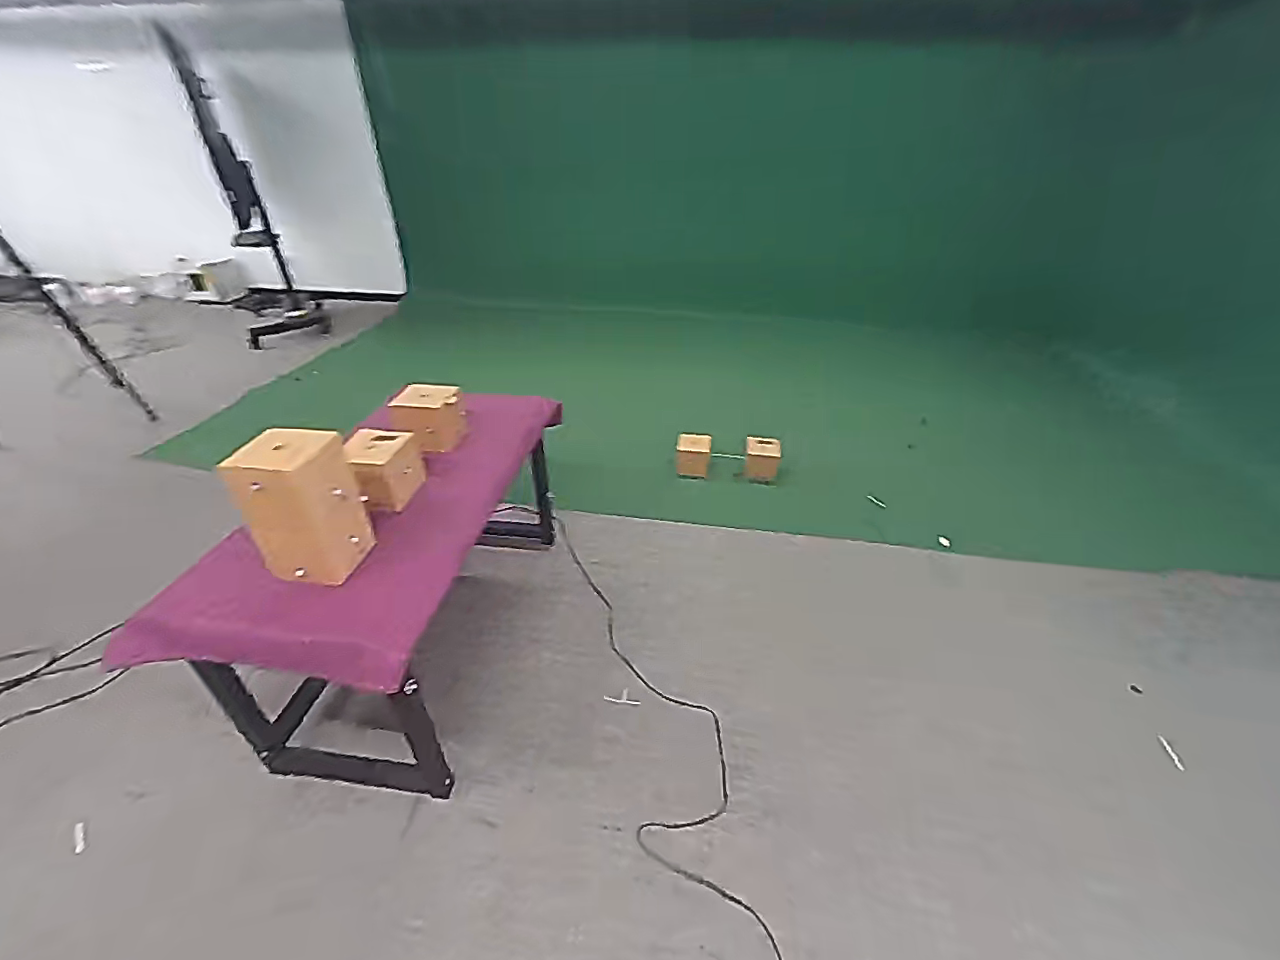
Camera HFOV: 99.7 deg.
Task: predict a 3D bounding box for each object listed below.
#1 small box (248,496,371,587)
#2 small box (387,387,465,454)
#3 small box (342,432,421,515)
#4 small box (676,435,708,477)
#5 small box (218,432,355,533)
[{"bbox_3d":[-0.796,0.143,1.326,0.179,0.176,0.168,4,34,6],"label":"small box"},{"bbox_3d":[-0.712,-0.200,1.826,0.179,0.176,0.168,4,35,7],"label":"small box"},{"bbox_3d":[-0.754,-0.020,1.564,0.168,0.176,0.179,4,36,6],"label":"small box"},{"bbox_3d":[0.288,-0.129,2.992,0.168,0.176,0.179,4,34,7],"label":"small box"},{"bbox_3d":[-0.793,0.006,1.234,0.179,0.176,0.168,4,35,6],"label":"small box"}]
